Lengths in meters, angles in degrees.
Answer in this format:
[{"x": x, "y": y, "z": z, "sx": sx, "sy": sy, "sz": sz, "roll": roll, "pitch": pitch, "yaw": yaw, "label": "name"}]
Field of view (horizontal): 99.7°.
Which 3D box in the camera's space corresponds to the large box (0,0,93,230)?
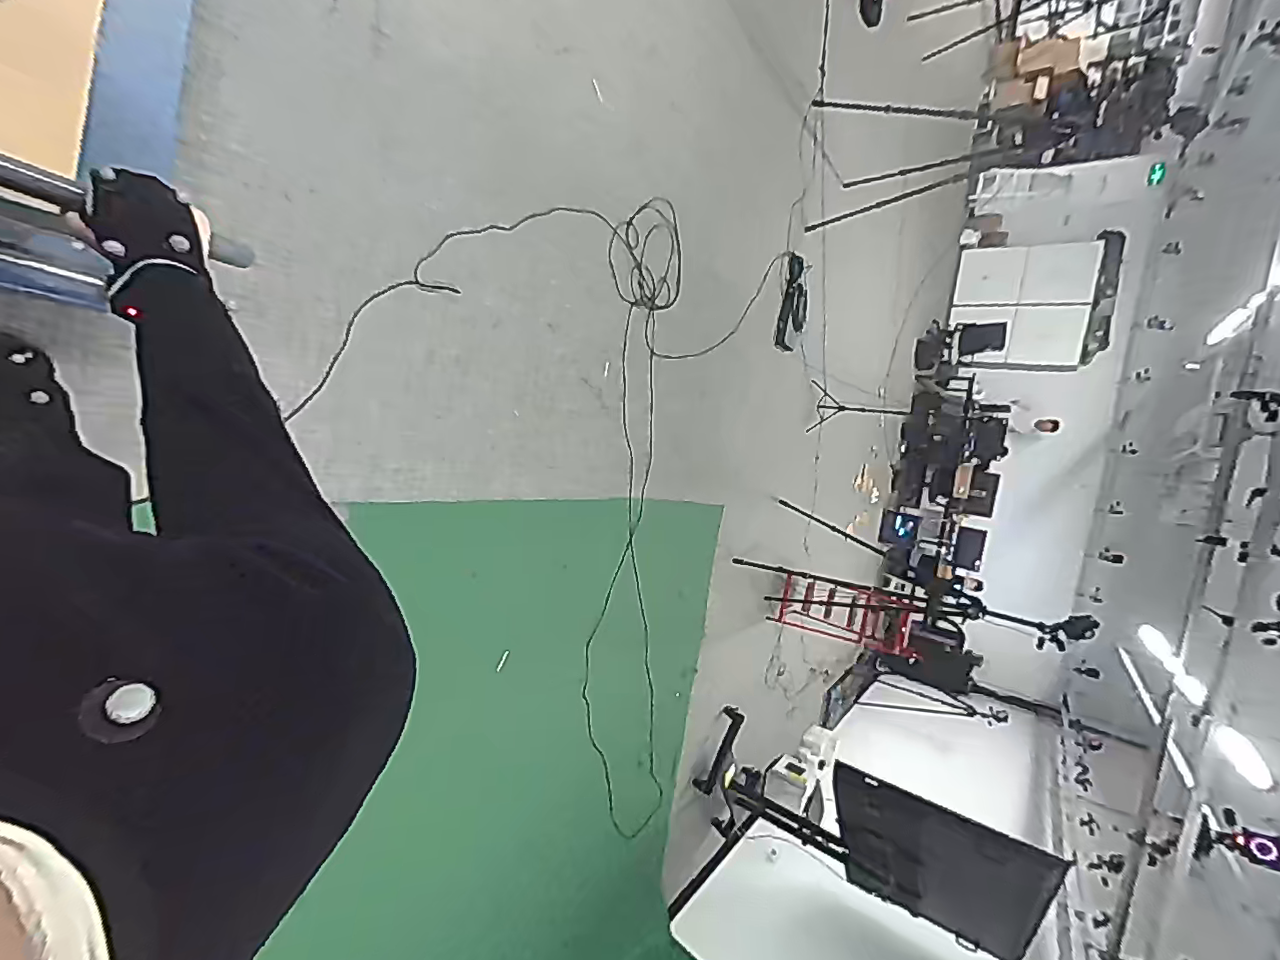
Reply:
[{"x": -1.009, "y": -0.623, "z": 0.742, "sx": 0.320, "sy": 0.320, "sz": 0.408, "roll": 8, "pitch": 91, "yaw": -54, "label": "large box"}]
